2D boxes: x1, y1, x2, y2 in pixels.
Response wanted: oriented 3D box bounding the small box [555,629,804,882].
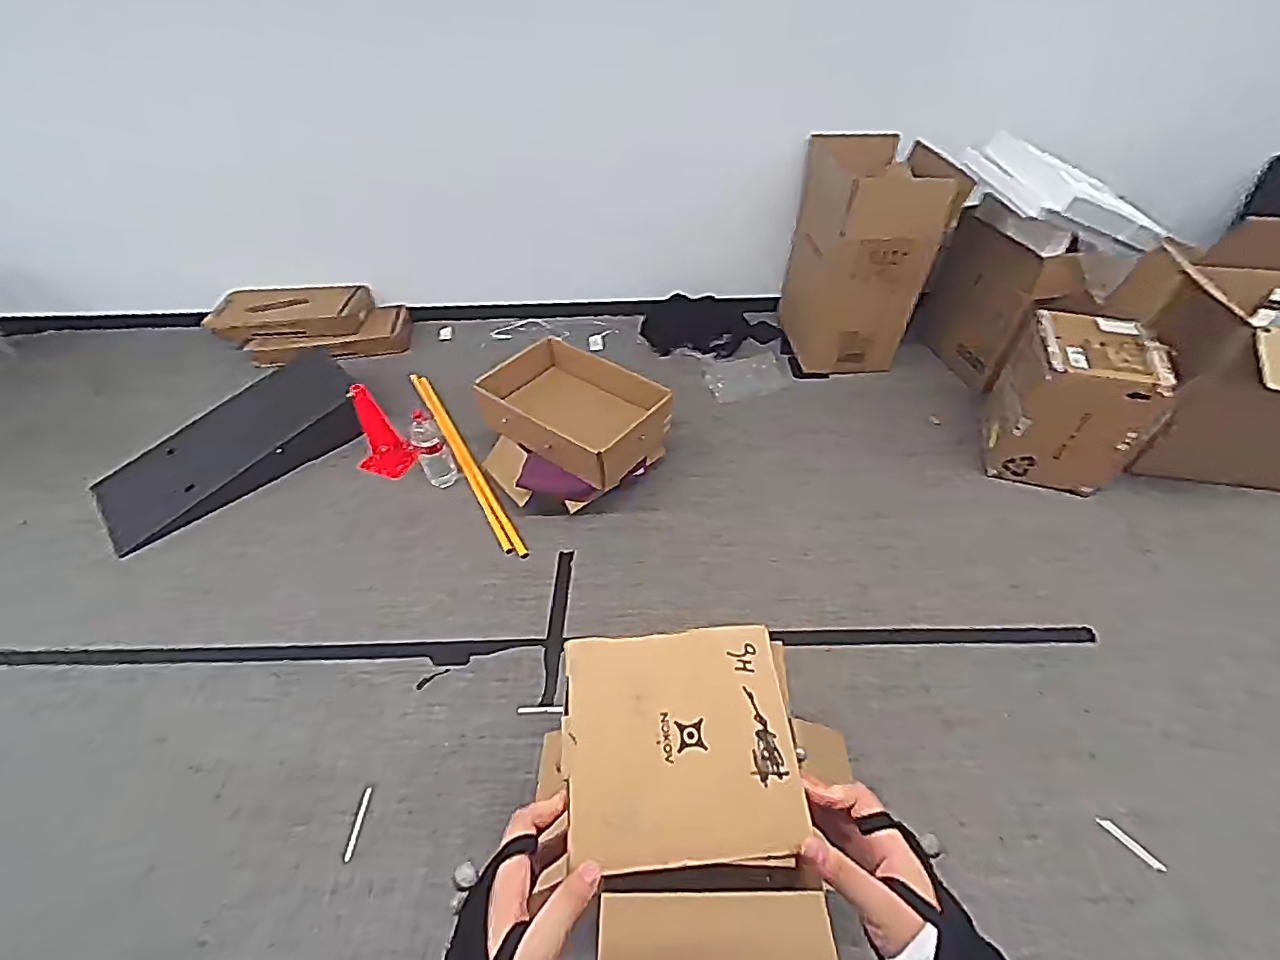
[{"bbox_3d":[0.023,0.249,0.481,0.179,0.176,0.168,-4,54,-4],"label":"small box"}]
